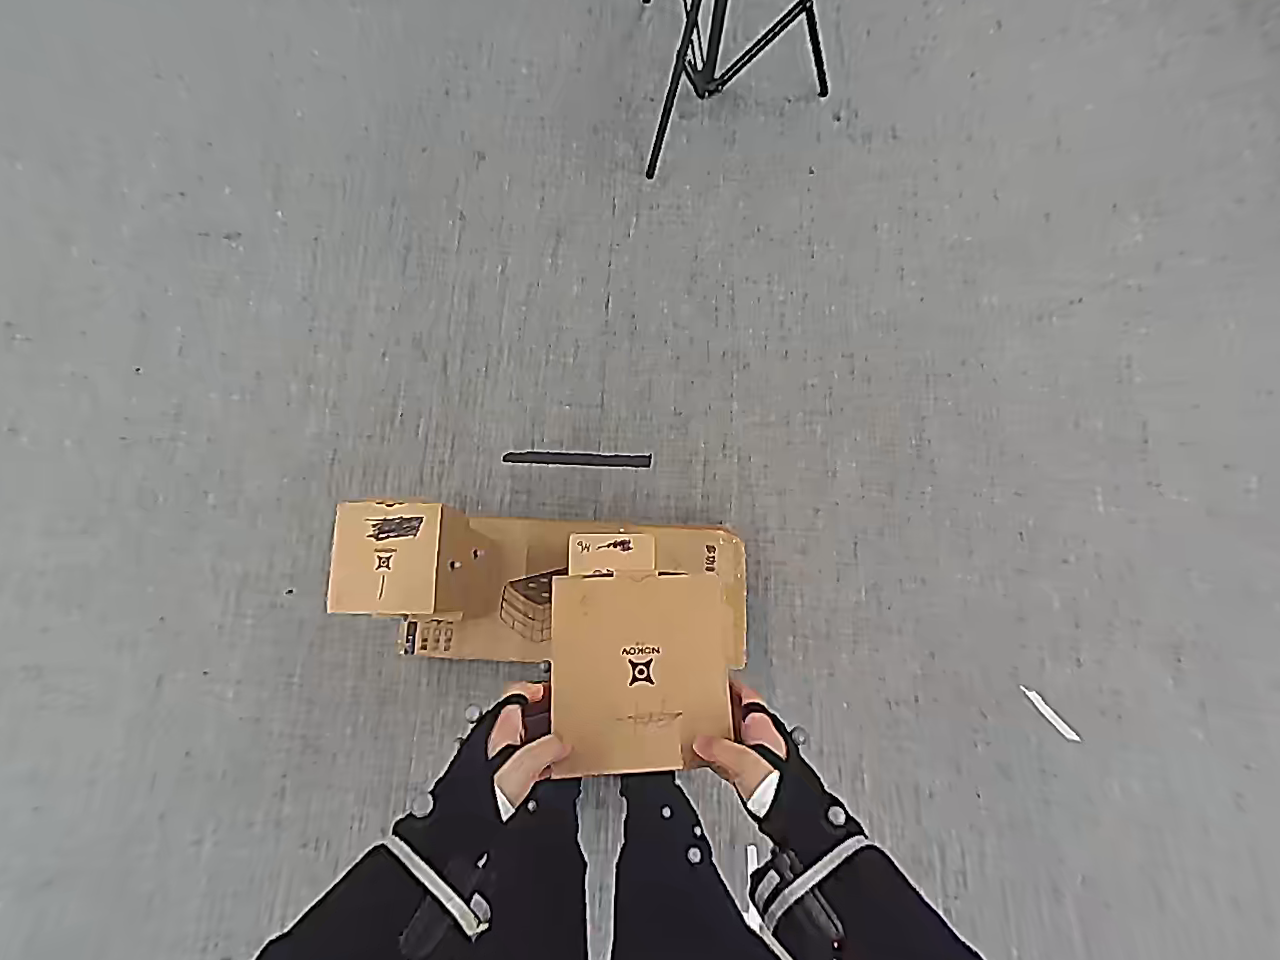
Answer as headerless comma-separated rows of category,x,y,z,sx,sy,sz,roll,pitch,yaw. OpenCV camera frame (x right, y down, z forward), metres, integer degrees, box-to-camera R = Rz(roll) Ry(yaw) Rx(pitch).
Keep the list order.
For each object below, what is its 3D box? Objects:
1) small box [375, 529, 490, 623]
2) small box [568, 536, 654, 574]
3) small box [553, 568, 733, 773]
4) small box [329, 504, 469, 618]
small box,-0.405,0.192,1.085,0.168,0.176,0.179,2,78,-2
small box,-0.055,0.208,1.097,0.168,0.176,0.179,1,79,0
small box,-0.008,0.196,0.582,0.168,0.176,0.179,-2,74,-6
small box,-0.399,0.143,0.928,0.168,0.176,0.179,1,78,-2
